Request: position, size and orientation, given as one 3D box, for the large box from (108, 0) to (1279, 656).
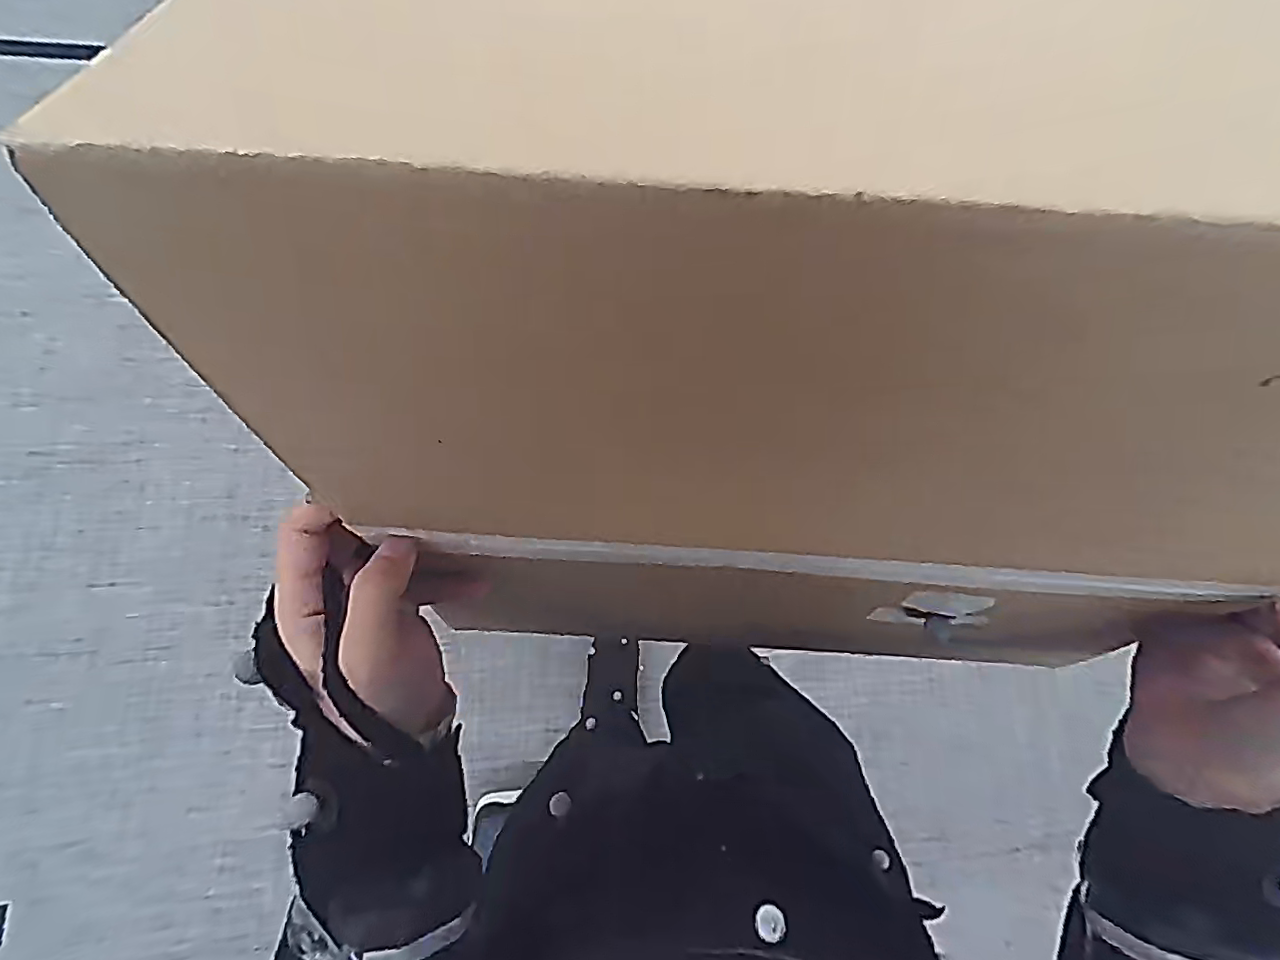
[{"bbox_3d":[0.081,-0.095,0.317,0.408,0.320,0.320,3,60,-1],"label":"large box"}]
